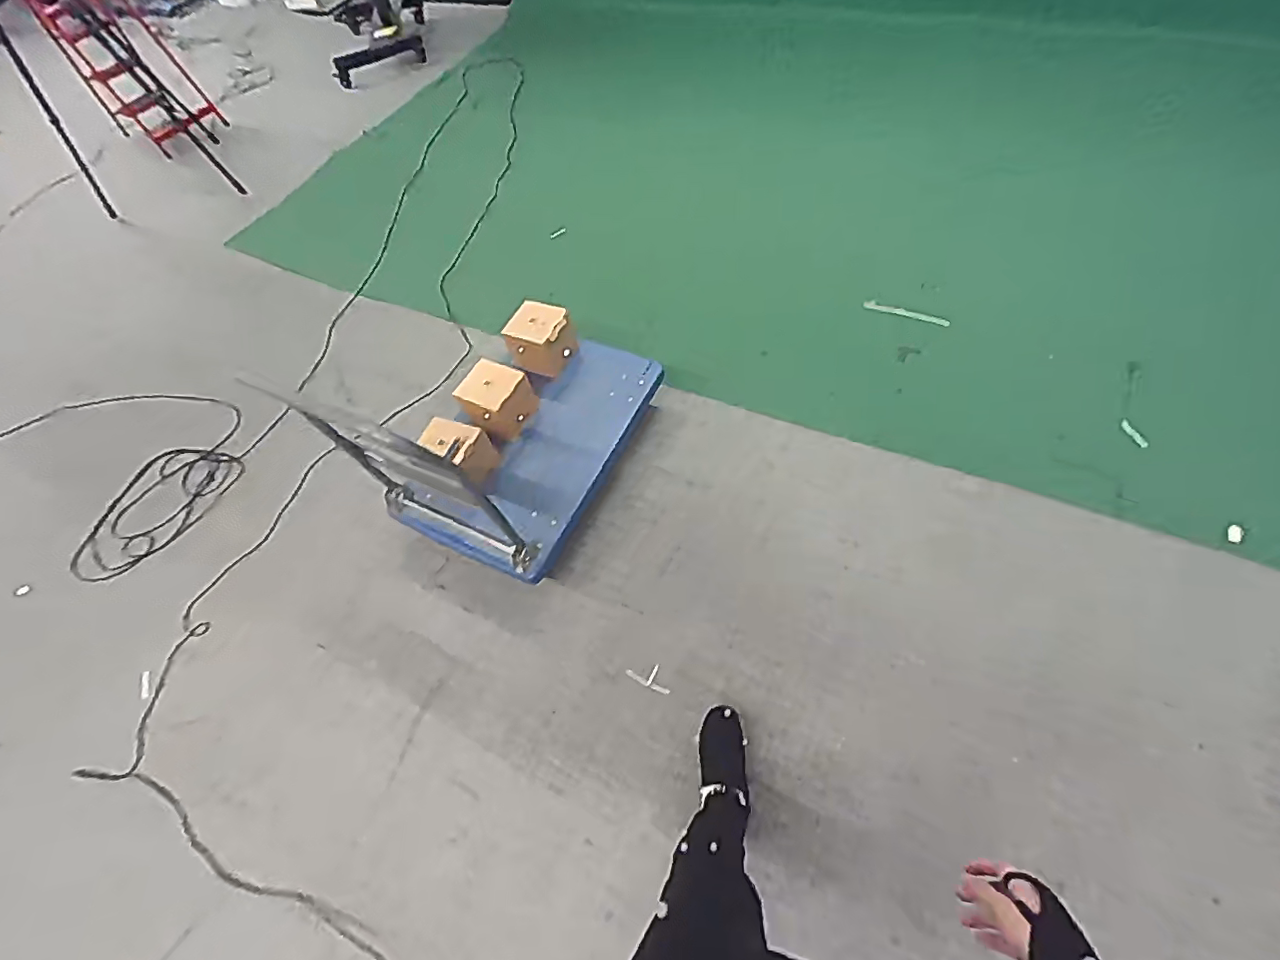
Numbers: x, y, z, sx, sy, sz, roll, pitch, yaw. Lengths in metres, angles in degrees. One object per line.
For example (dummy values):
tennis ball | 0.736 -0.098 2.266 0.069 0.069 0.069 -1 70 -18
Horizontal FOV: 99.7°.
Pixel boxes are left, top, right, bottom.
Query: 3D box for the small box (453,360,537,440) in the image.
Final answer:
small box | -0.464 -0.254 1.753 0.179 0.176 0.168 22 64 18

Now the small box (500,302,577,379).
small box | -0.343 -0.477 1.864 0.179 0.176 0.168 27 69 20
